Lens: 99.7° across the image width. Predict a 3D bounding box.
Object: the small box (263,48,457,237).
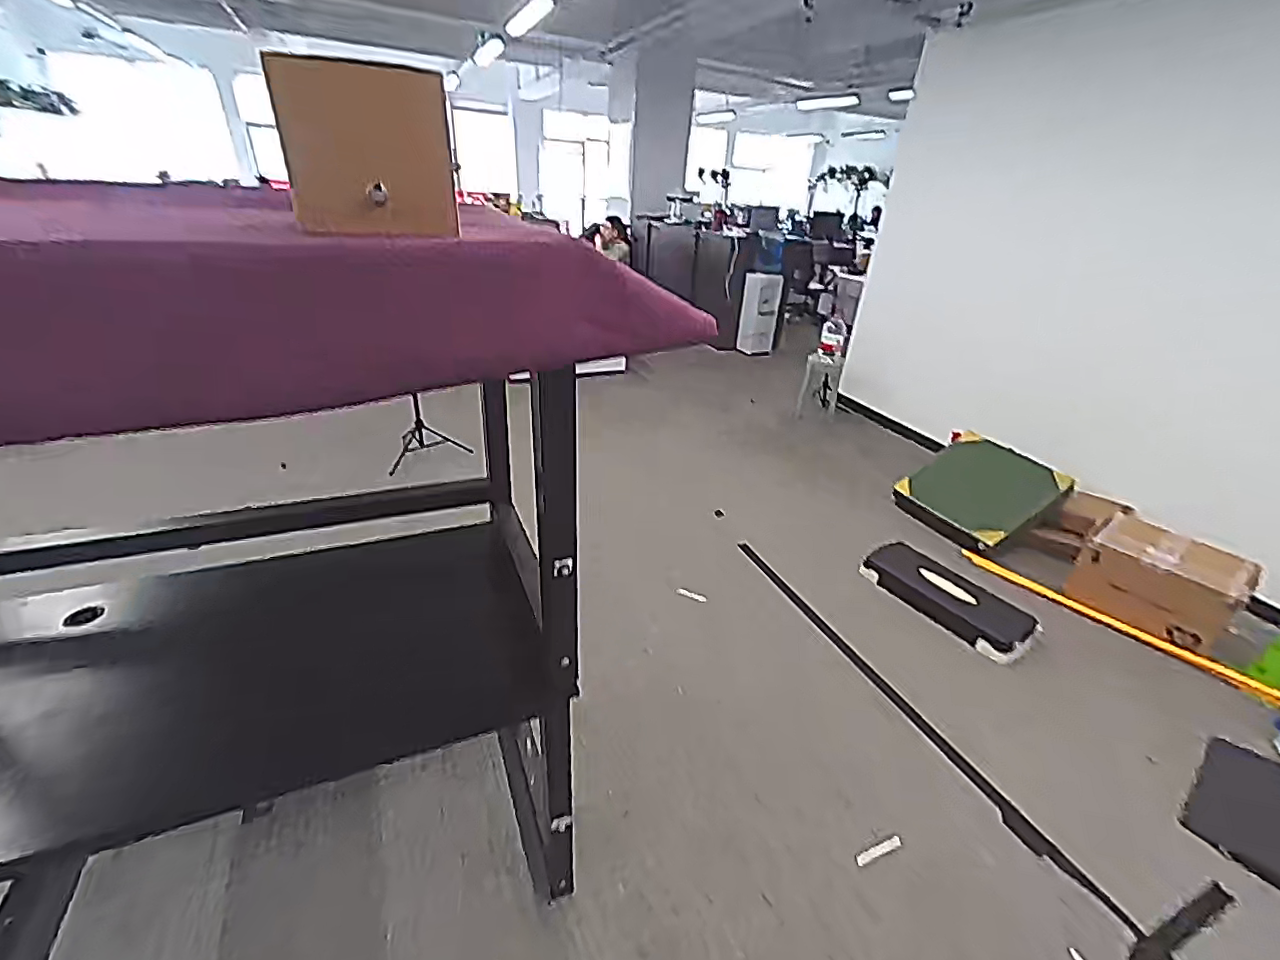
[{"bbox_3d":[-0.323,-0.396,0.660,0.179,0.176,0.168,-8,29,-20],"label":"small box"}]
